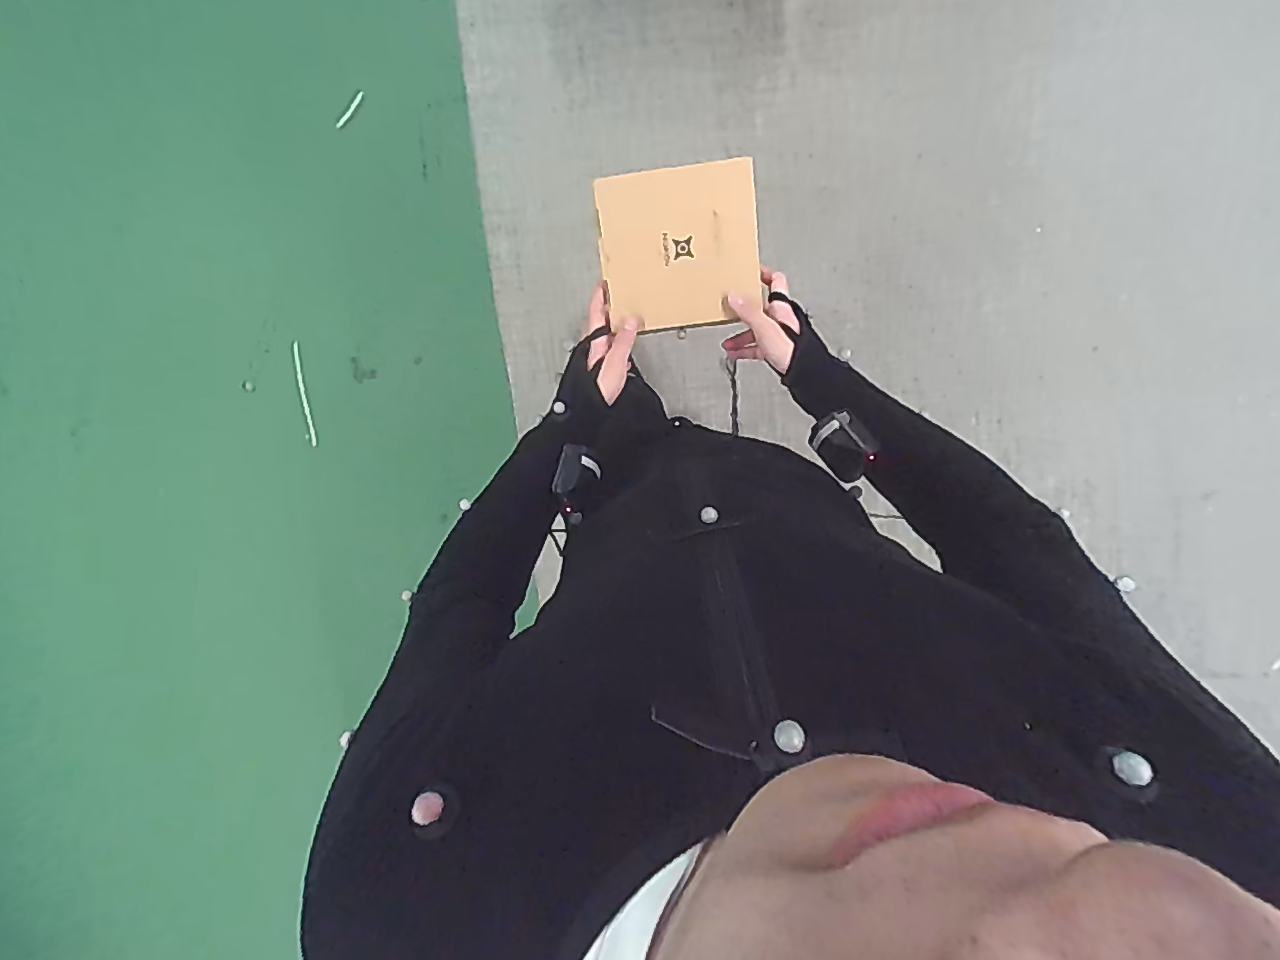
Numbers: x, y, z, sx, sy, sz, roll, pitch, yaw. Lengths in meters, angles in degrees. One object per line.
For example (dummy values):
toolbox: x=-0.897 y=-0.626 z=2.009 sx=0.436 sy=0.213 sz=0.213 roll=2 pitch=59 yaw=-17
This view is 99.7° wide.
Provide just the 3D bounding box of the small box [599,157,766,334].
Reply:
small box: x=0.052 y=-0.275 z=0.671 sx=0.179 sy=0.176 sz=0.168 roll=-5 pitch=104 yaw=2
